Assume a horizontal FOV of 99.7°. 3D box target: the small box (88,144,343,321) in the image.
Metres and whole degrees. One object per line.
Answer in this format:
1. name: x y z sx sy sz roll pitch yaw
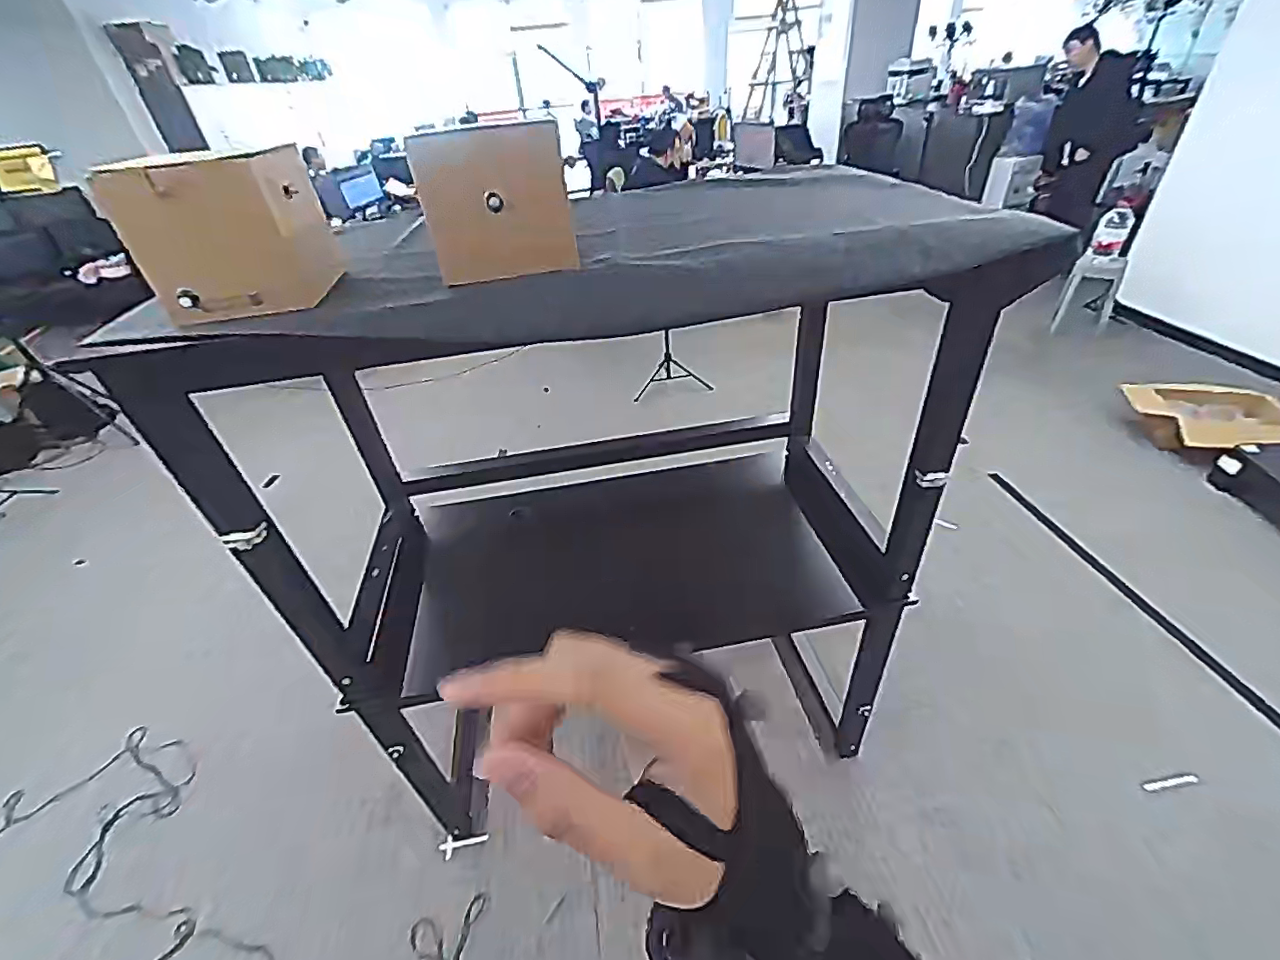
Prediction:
1. small box: -0.506 -0.310 0.684 0.168 0.176 0.179 -10 37 -6
